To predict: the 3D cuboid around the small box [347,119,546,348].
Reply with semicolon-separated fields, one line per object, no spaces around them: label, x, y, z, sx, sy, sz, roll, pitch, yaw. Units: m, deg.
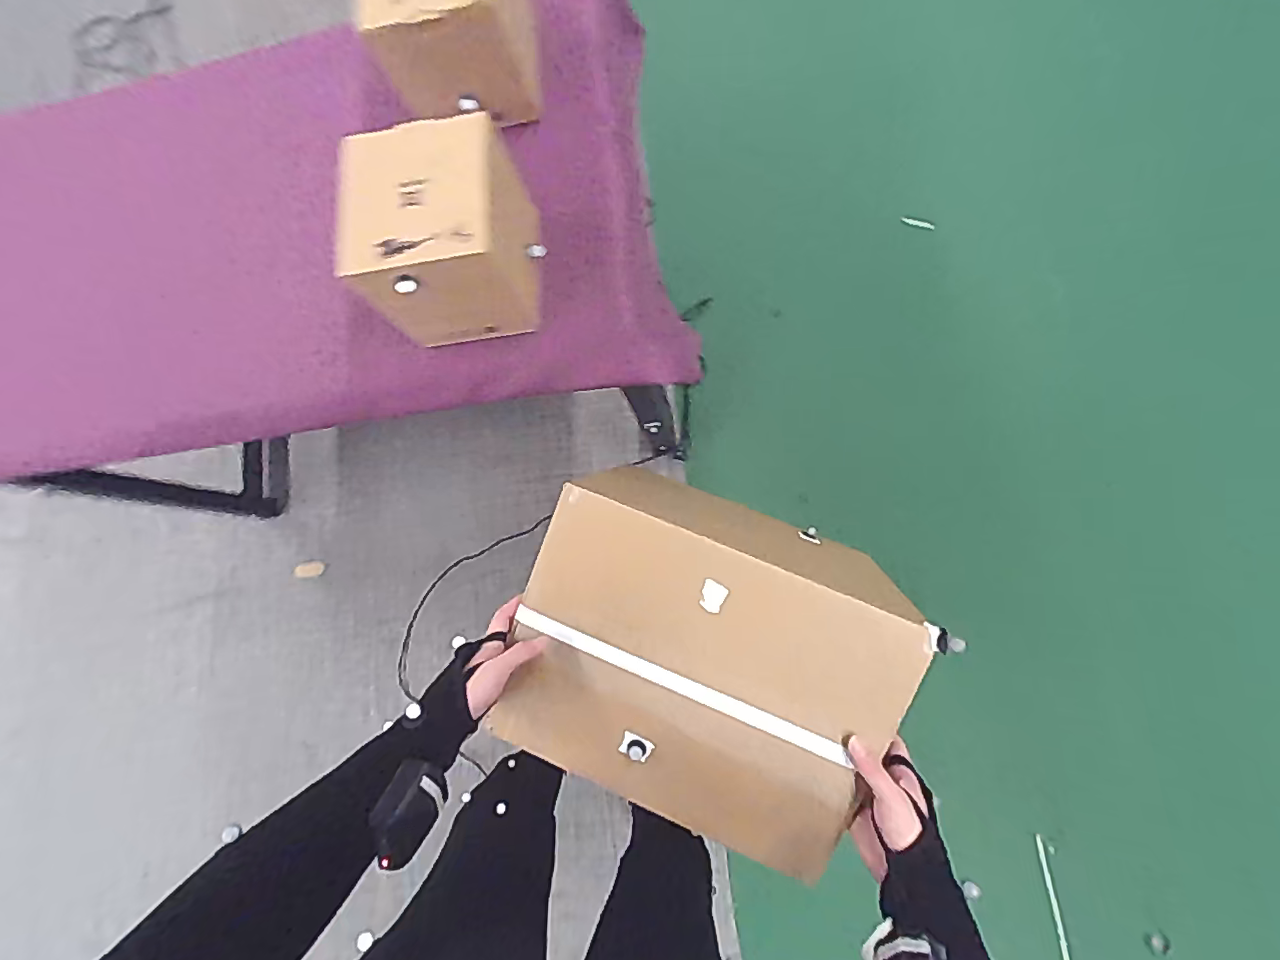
small box;-0.219;-0.284;0.655;0.168;0.176;0.179;-6;76;8
